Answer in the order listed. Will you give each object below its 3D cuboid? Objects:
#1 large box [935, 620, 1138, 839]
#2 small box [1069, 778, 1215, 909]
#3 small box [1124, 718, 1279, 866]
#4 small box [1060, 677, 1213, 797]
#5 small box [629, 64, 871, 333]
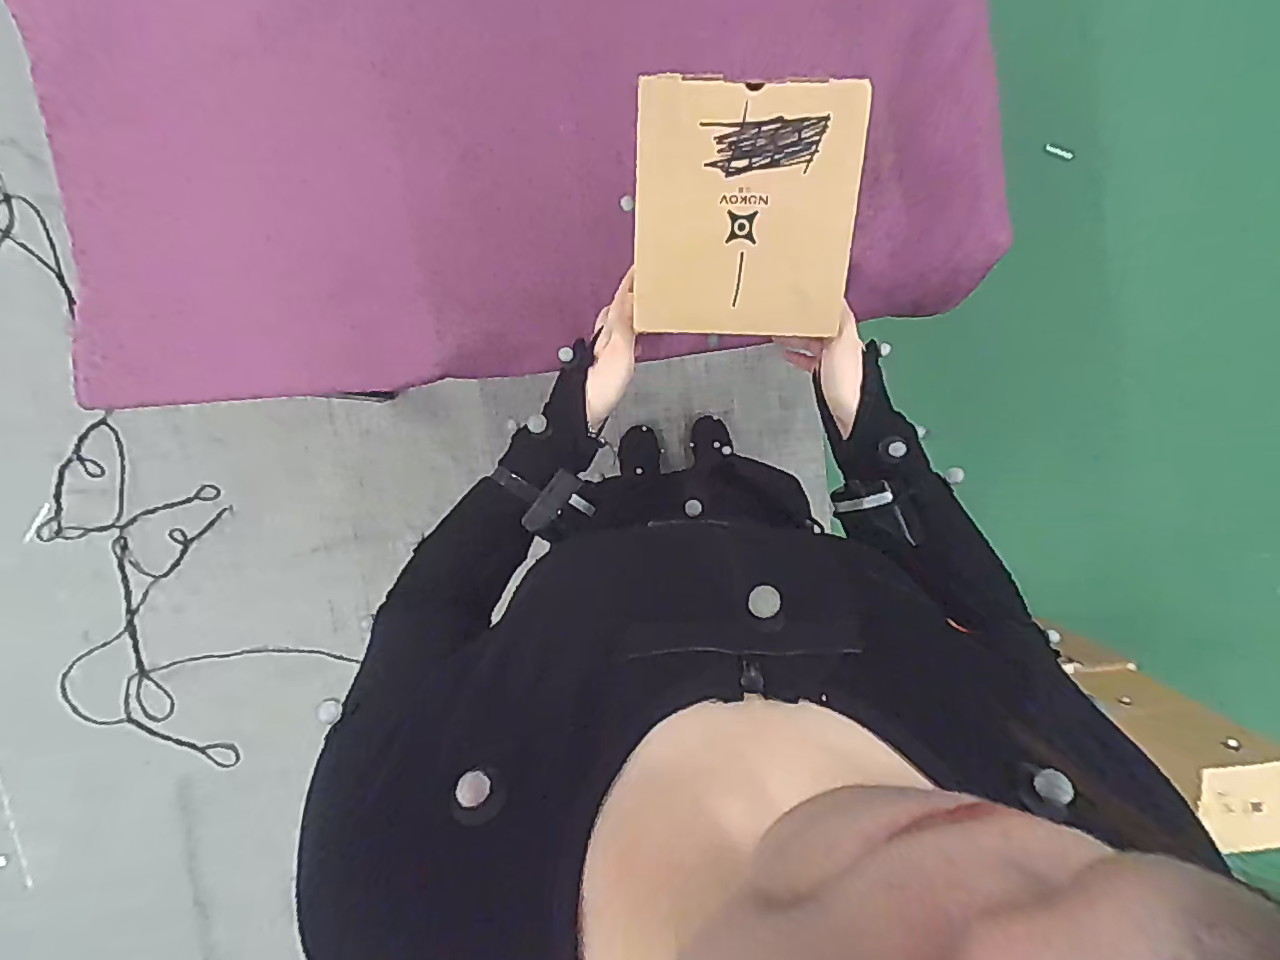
[{"bbox_3d":[1.007,0.621,1.402,0.320,0.320,0.408,-6,97,1],"label":"large box"},{"bbox_3d":[1.078,0.781,1.173,0.168,0.176,0.179,-1,95,0],"label":"small box"},{"bbox_3d":[1.044,0.556,0.986,0.179,0.176,0.168,-7,96,1],"label":"small box"},{"bbox_3d":[1.045,0.536,1.150,0.179,0.176,0.168,-6,96,0],"label":"small box"},{"bbox_3d":[0.078,-0.223,0.471,0.168,0.176,0.179,2,108,2],"label":"small box"}]
